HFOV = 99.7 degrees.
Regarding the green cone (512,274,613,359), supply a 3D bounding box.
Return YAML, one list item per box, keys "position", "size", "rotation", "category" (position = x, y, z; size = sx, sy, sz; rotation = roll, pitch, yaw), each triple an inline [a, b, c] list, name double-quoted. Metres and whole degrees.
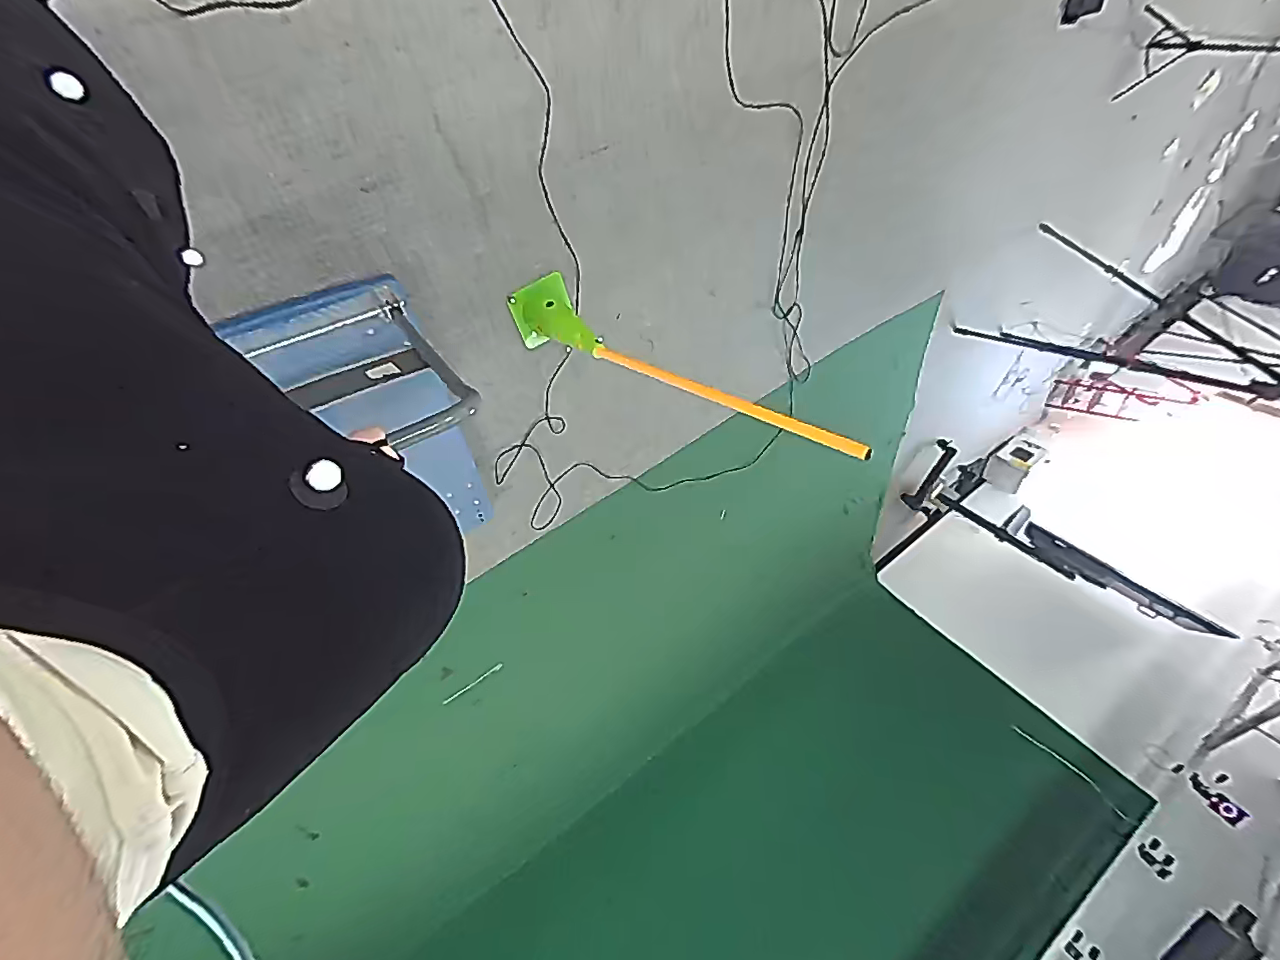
- position: [-0.202, -0.450, 1.649]
  size: [0.202, 0.368, 0.200]
  rotation: [-36, 141, -15]
  category: "green cone"
